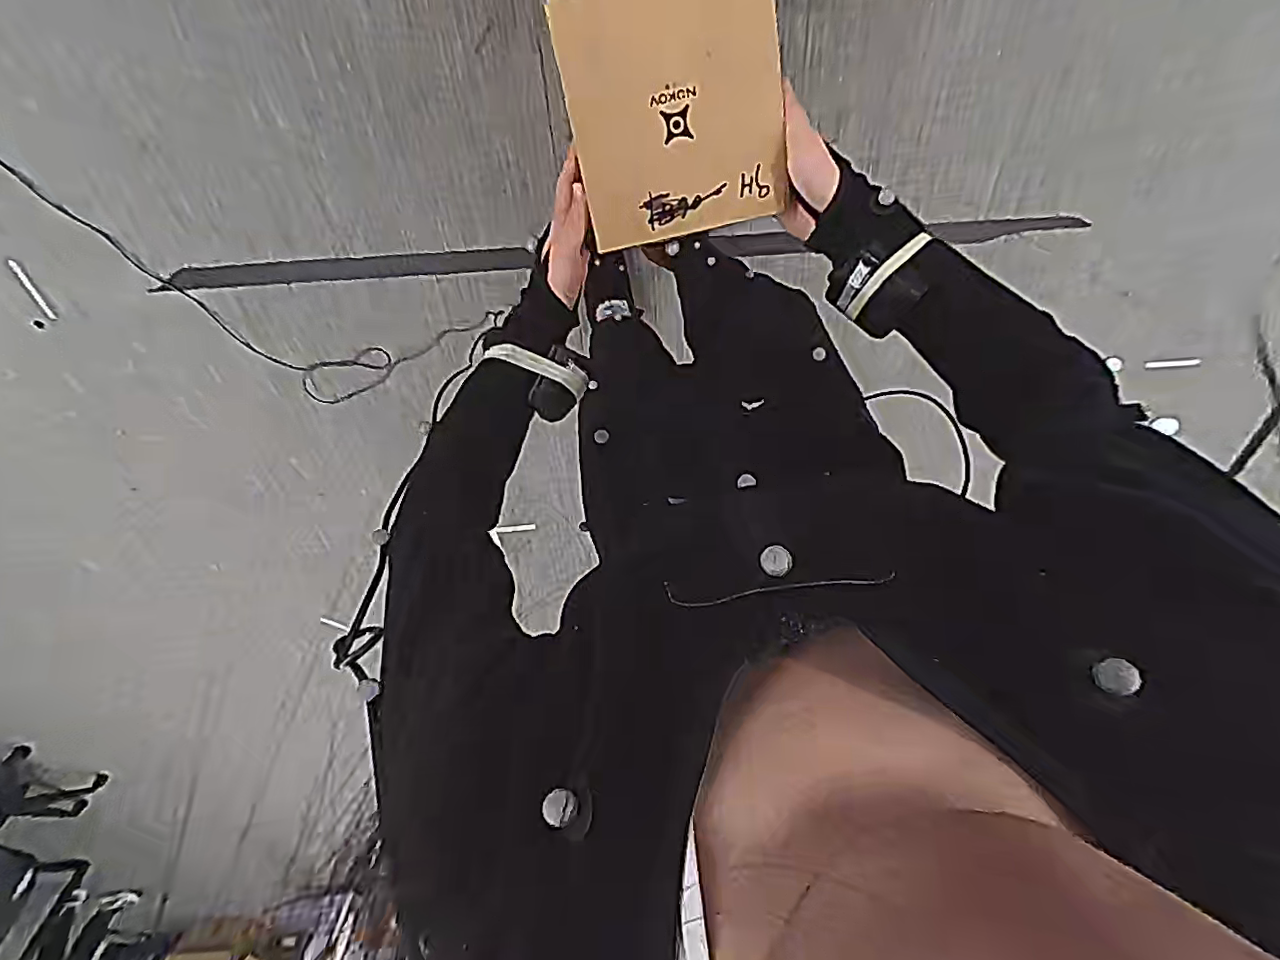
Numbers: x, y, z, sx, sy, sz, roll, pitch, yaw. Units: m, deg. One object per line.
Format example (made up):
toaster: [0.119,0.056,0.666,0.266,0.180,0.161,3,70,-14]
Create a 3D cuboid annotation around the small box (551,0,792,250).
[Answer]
small box: [0.026,-0.314,0.485,0.168,0.176,0.179,-11,114,2]
